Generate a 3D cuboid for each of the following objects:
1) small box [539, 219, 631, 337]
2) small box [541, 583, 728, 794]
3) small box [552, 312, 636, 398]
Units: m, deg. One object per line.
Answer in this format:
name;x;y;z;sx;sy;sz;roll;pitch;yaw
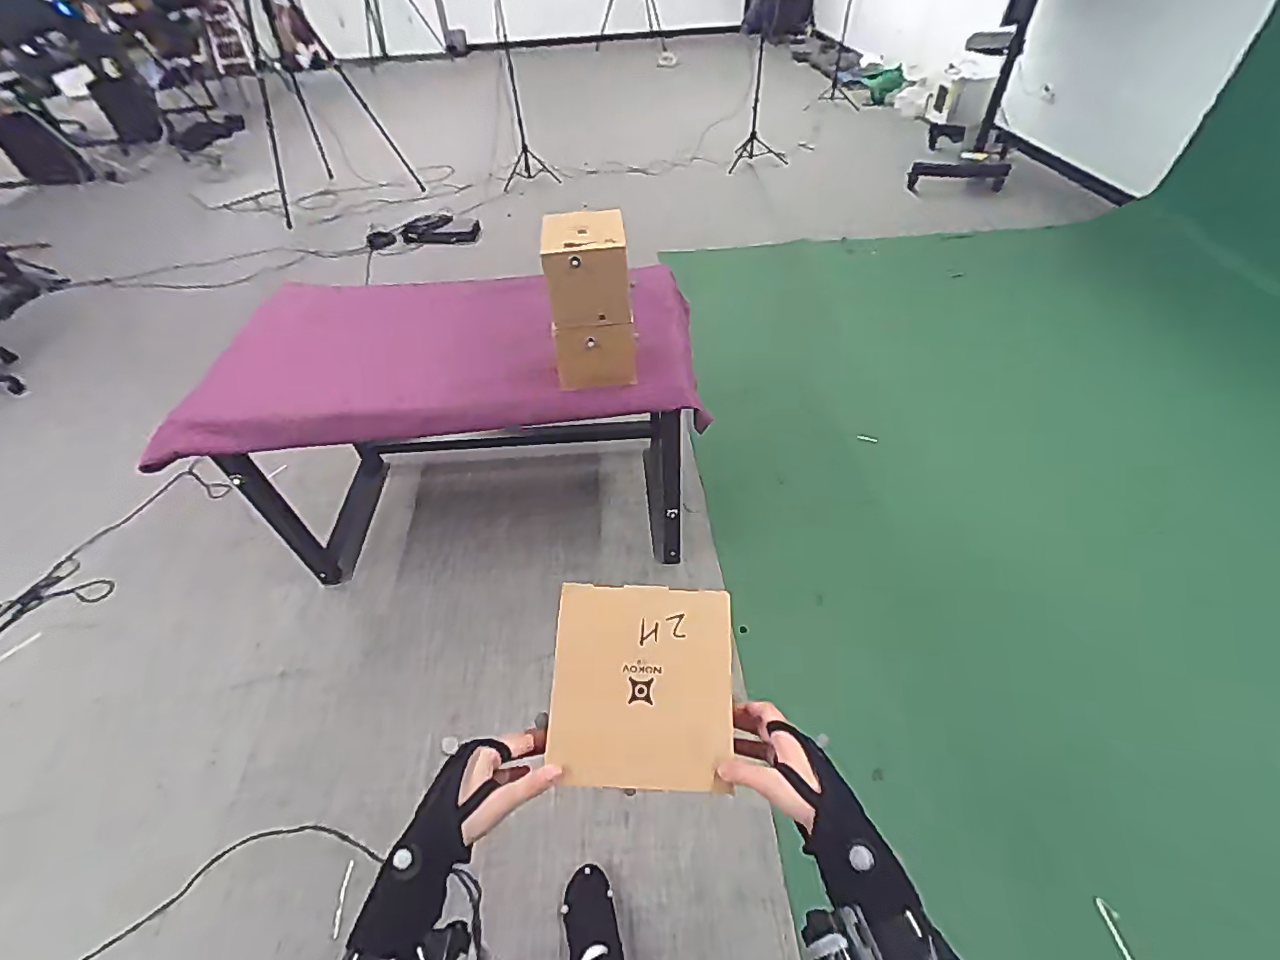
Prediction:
small box;-0.111;-0.424;1.141;0.168;0.176;0.179;-7;47;1
small box;-0.001;0.218;0.571;0.168;0.176;0.179;3;65;0
small box;-0.102;-0.311;1.260;0.179;0.176;0.168;-7;47;0
